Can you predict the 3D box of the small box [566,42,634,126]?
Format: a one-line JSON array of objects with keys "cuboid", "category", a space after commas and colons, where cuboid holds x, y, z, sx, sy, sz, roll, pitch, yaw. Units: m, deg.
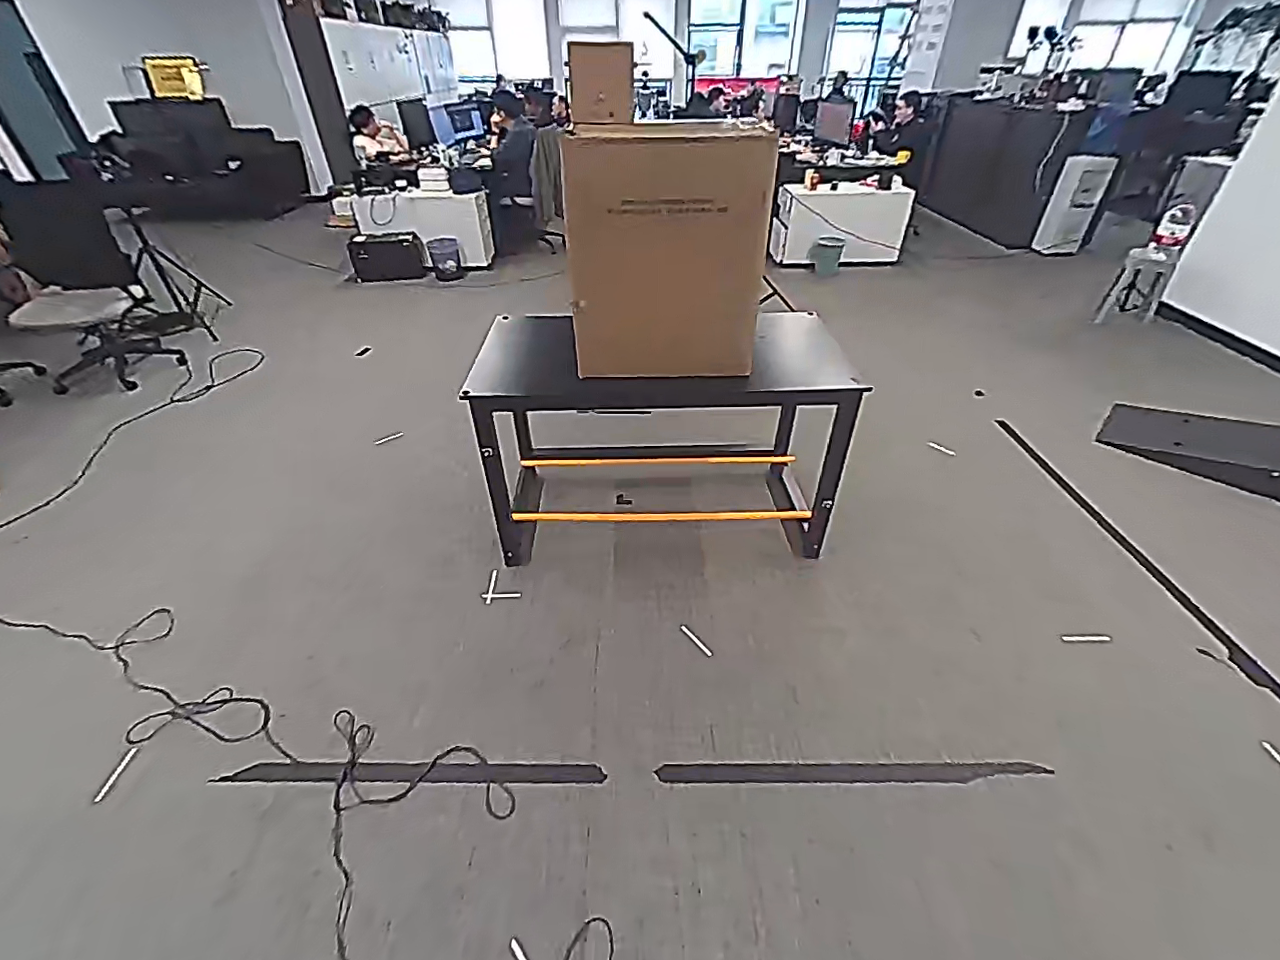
[{"cuboid": [-0.102, -1.037, 1.421, 0.168, 0.176, 0.179, -2, 36, -3], "category": "small box"}]
